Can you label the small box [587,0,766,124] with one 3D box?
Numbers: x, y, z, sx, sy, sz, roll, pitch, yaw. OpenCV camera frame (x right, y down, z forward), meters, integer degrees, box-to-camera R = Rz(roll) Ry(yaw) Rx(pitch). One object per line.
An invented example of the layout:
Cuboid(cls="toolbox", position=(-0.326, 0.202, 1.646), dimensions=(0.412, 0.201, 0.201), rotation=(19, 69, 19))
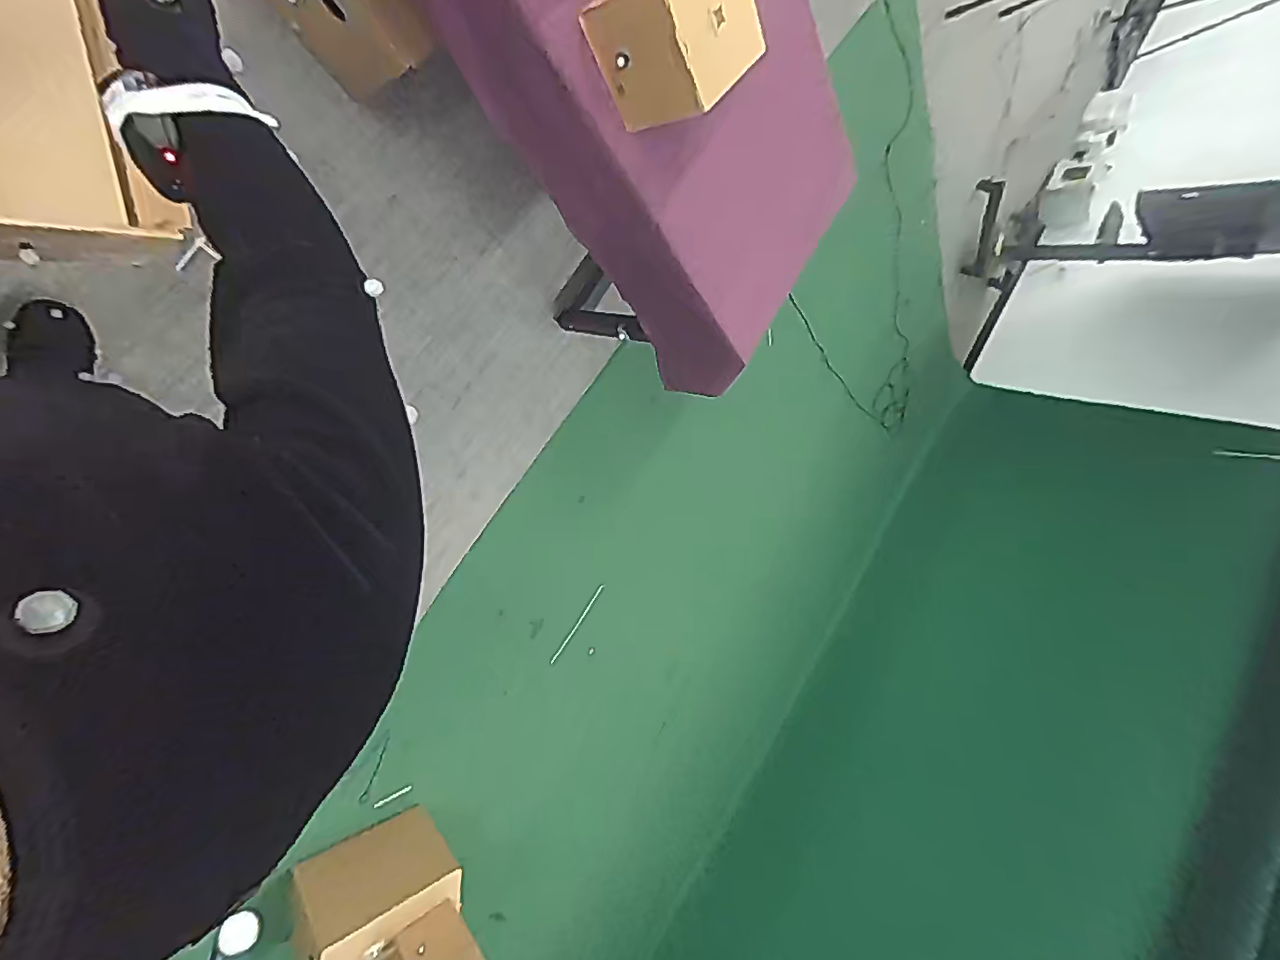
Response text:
Cuboid(cls="small box", position=(0.054, -0.668, 0.803), dimensions=(0.179, 0.176, 0.168), rotation=(-52, 136, -15))
